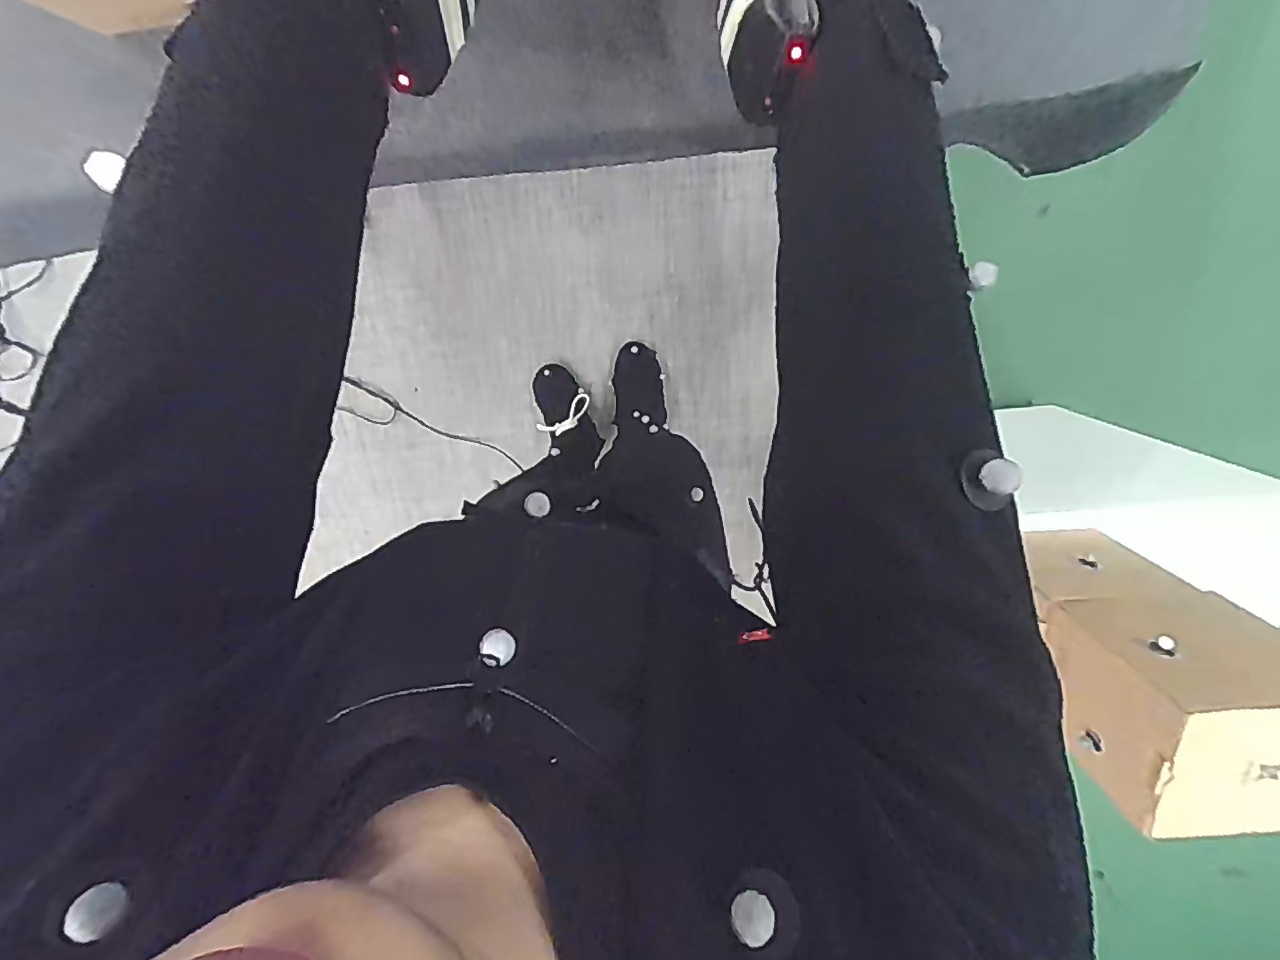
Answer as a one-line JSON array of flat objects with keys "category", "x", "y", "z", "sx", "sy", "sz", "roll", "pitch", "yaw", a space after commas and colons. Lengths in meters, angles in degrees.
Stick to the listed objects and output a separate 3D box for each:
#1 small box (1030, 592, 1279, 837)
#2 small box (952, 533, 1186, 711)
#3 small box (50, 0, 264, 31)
[{"category": "small box", "x": 0.562, "y": 0.239, "z": 0.576, "sx": 0.179, "sy": 0.176, "sz": 0.168, "roll": -6, "pitch": 112, "yaw": 2}, {"category": "small box", "x": 0.555, "y": 0.183, "z": 0.729, "sx": 0.179, "sy": 0.176, "sz": 0.168, "roll": -4, "pitch": 111, "yaw": 1}, {"category": "small box", "x": -0.406, "y": -0.453, "z": 0.364, "sx": 0.168, "sy": 0.176, "sz": 0.179, "roll": -5, "pitch": 110, "yaw": 3}]
